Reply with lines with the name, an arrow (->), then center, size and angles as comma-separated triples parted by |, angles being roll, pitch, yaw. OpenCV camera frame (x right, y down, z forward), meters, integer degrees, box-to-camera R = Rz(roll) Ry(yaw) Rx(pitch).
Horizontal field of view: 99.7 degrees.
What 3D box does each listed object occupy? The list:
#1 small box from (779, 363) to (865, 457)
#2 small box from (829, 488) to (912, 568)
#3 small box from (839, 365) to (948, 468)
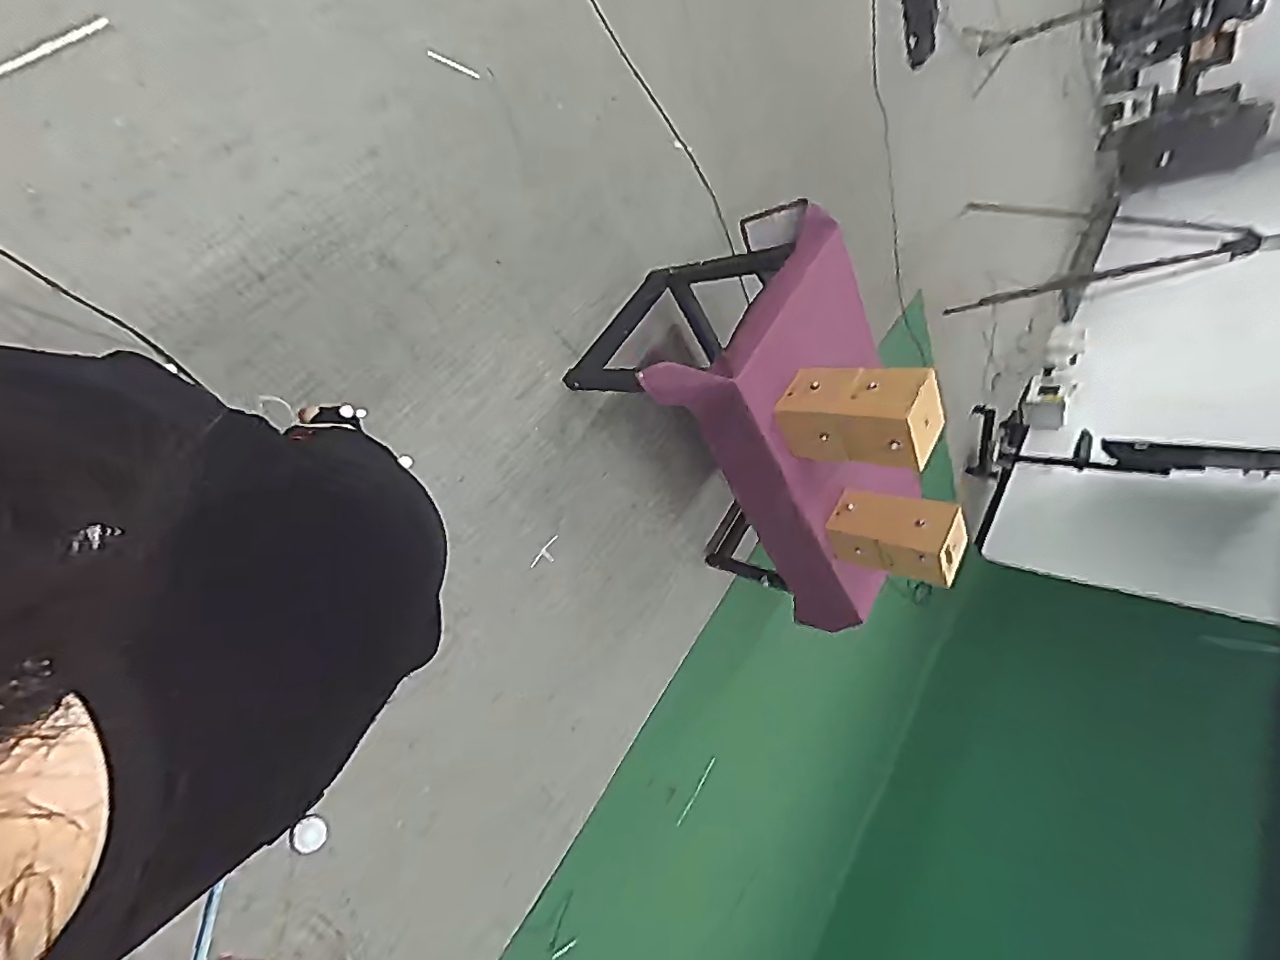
small box -> 0.482, -0.180, 1.388 | 0.168, 0.176, 0.179 | -52, 129, -23
small box -> 0.712, 0.142, 1.671 | 0.168, 0.176, 0.179 | -53, 128, -23
small box -> 0.596, -0.154, 1.274 | 0.168, 0.176, 0.179 | -53, 128, -23
